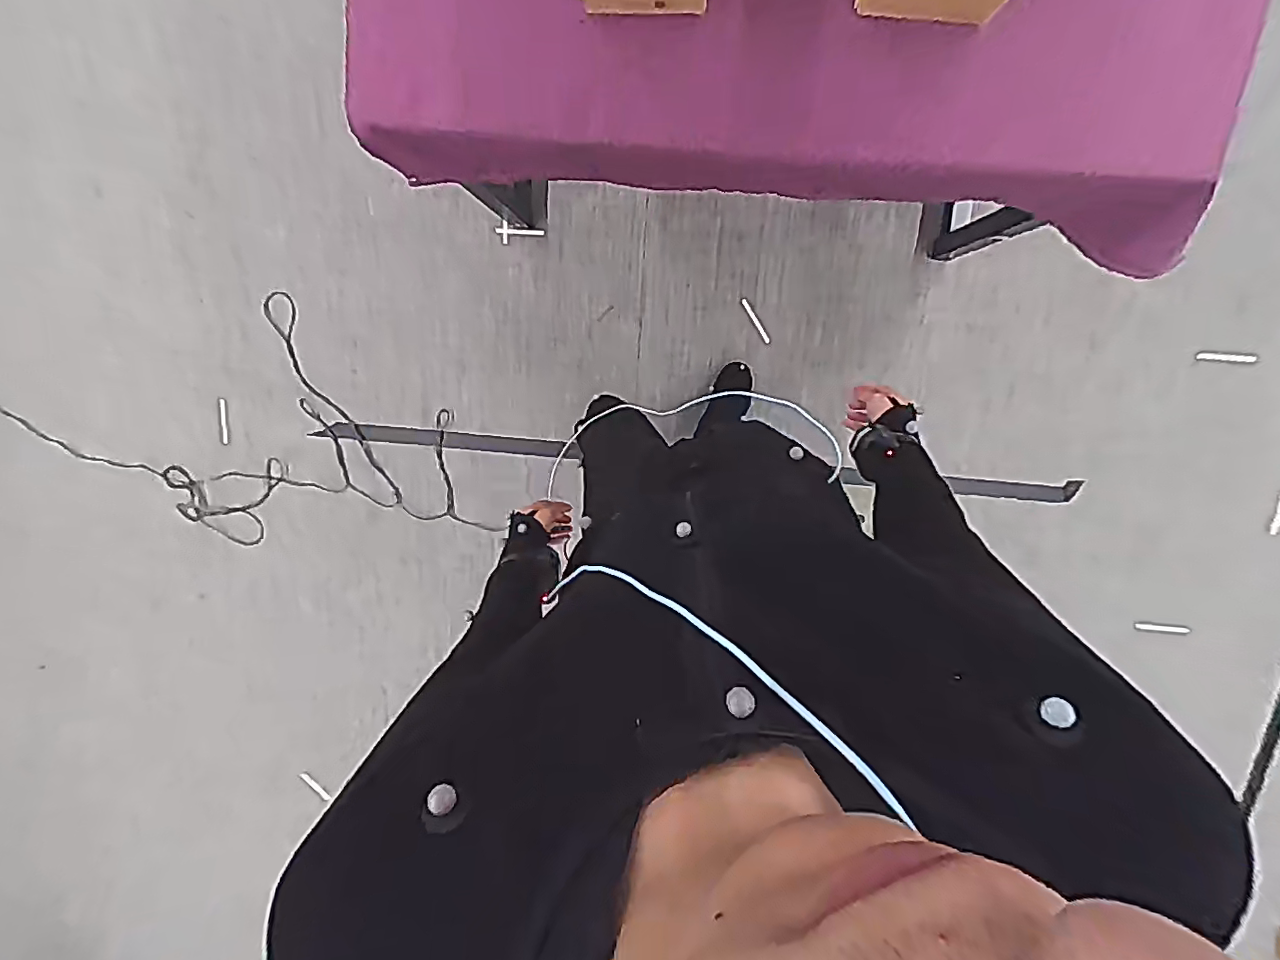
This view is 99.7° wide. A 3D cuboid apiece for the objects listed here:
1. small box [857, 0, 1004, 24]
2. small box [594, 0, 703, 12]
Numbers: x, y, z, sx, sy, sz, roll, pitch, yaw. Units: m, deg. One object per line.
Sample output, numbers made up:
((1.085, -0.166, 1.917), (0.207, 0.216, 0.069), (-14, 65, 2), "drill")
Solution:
((0.378, -0.671, 0.623), (0.179, 0.176, 0.168), (8, 103, 2), "small box")
((0.004, -0.697, 0.634), (0.168, 0.176, 0.179), (3, 103, 2), "small box")
